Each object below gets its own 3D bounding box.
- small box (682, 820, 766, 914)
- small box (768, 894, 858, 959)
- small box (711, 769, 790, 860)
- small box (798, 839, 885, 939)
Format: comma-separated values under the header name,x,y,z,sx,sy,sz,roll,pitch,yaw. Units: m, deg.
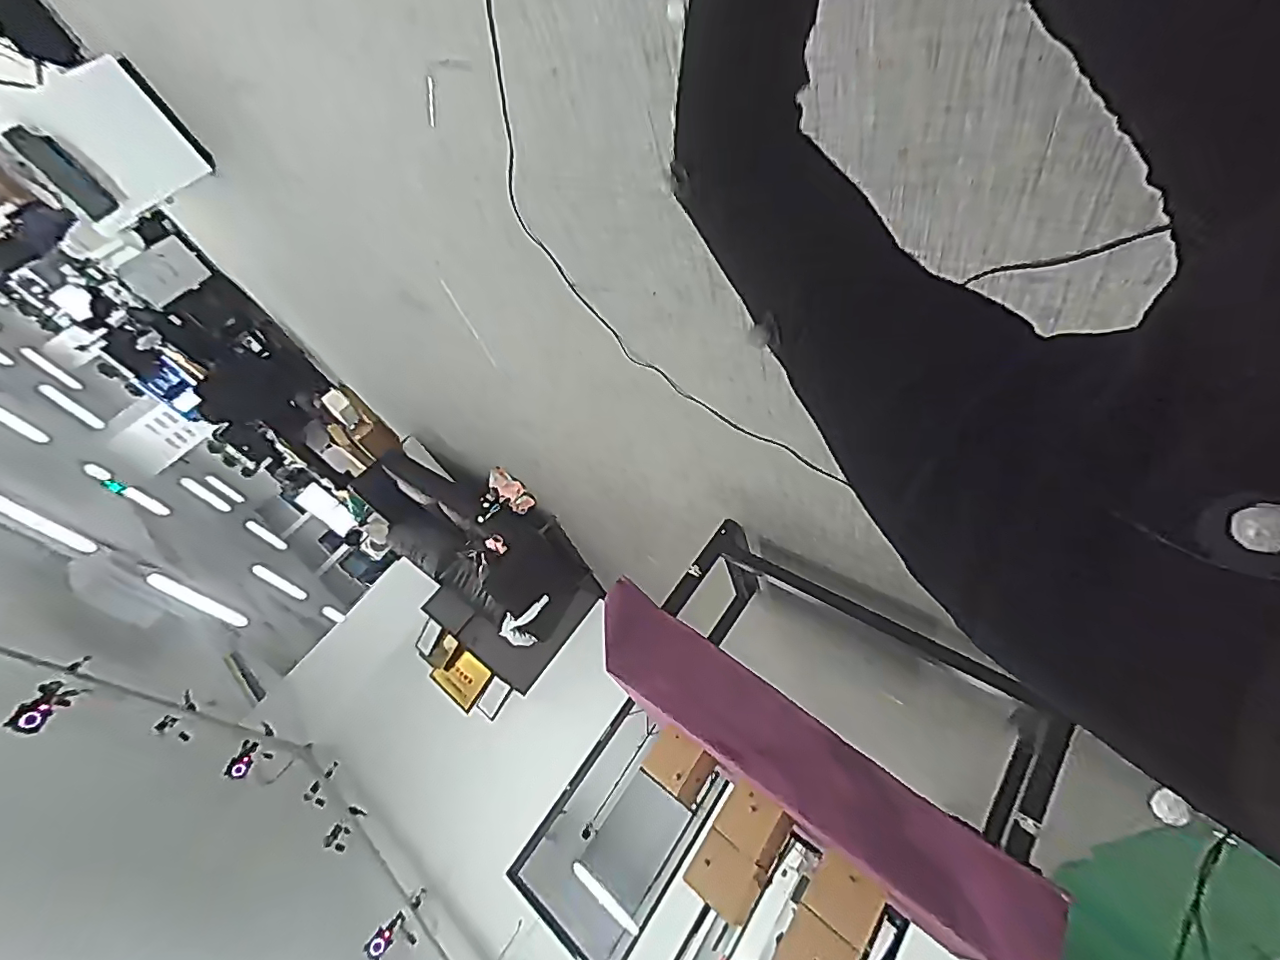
name,x,y,z,sx,sy,sz,roll,pitch,yaw
small box,0.263,1.185,1.668,0.179,0.176,0.168,21,153,39
small box,0.481,1.285,1.496,0.179,0.176,0.168,23,153,36
small box,0.360,1.068,1.730,0.168,0.176,0.179,20,151,41
small box,0.580,1.167,1.553,0.179,0.176,0.168,24,155,36
